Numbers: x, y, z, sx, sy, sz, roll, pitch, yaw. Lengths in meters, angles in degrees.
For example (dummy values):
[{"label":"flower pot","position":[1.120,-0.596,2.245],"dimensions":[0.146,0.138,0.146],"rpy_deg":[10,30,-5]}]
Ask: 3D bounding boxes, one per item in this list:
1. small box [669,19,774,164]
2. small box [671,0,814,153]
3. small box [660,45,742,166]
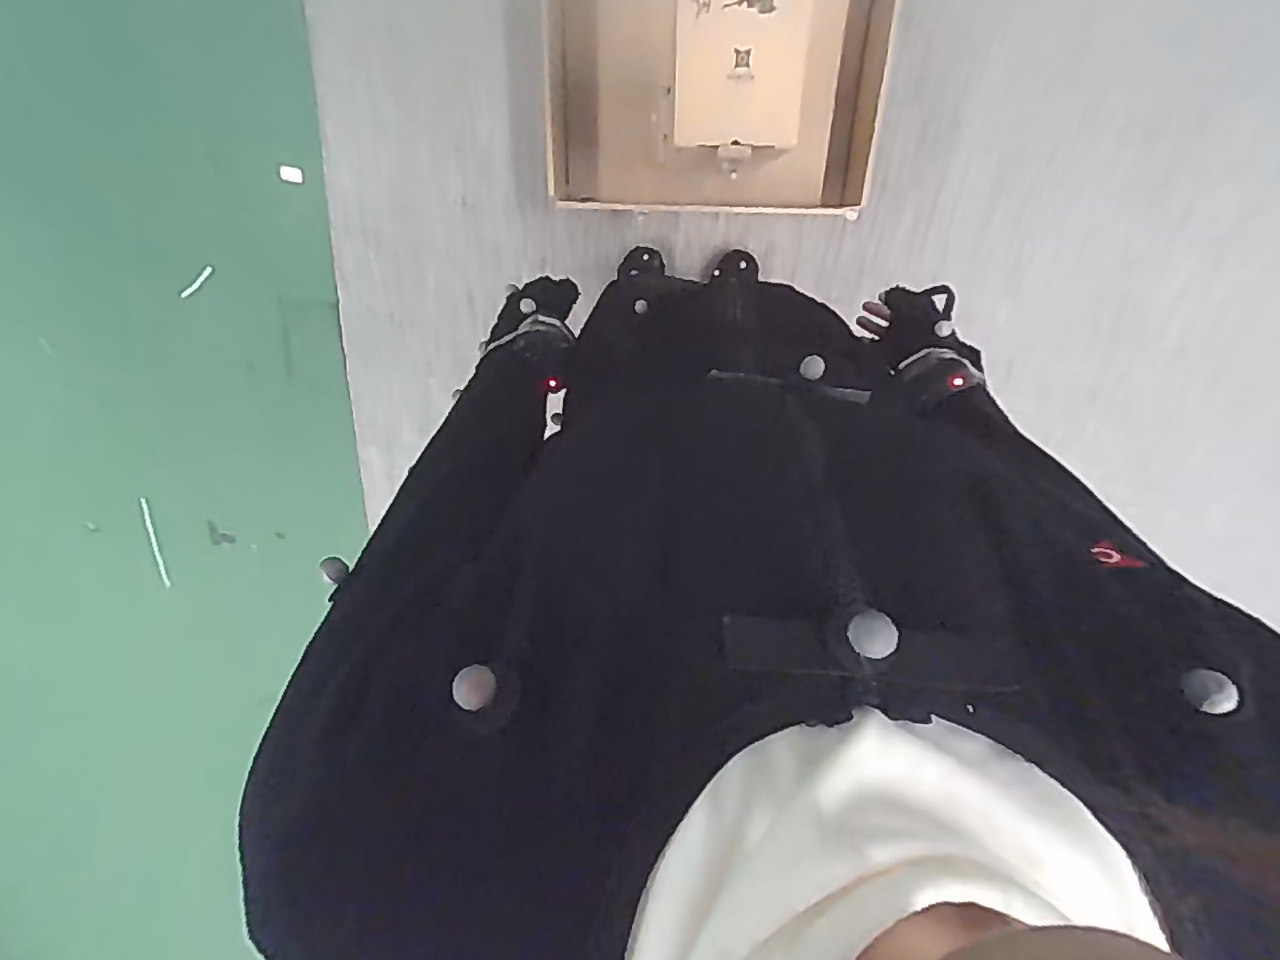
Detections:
[{"label":"small box","position":[0.133,-0.625,0.887],"dimensions":[0.168,0.176,0.179],"rpy_deg":[-1,115,3]},{"label":"small box","position":[0.130,-0.564,0.753],"dimensions":[0.168,0.176,0.179],"rpy_deg":[1,116,0]},{"label":"small box","position":[0.133,-0.712,1.043],"dimensions":[0.179,0.176,0.168],"rpy_deg":[4,114,2]}]
